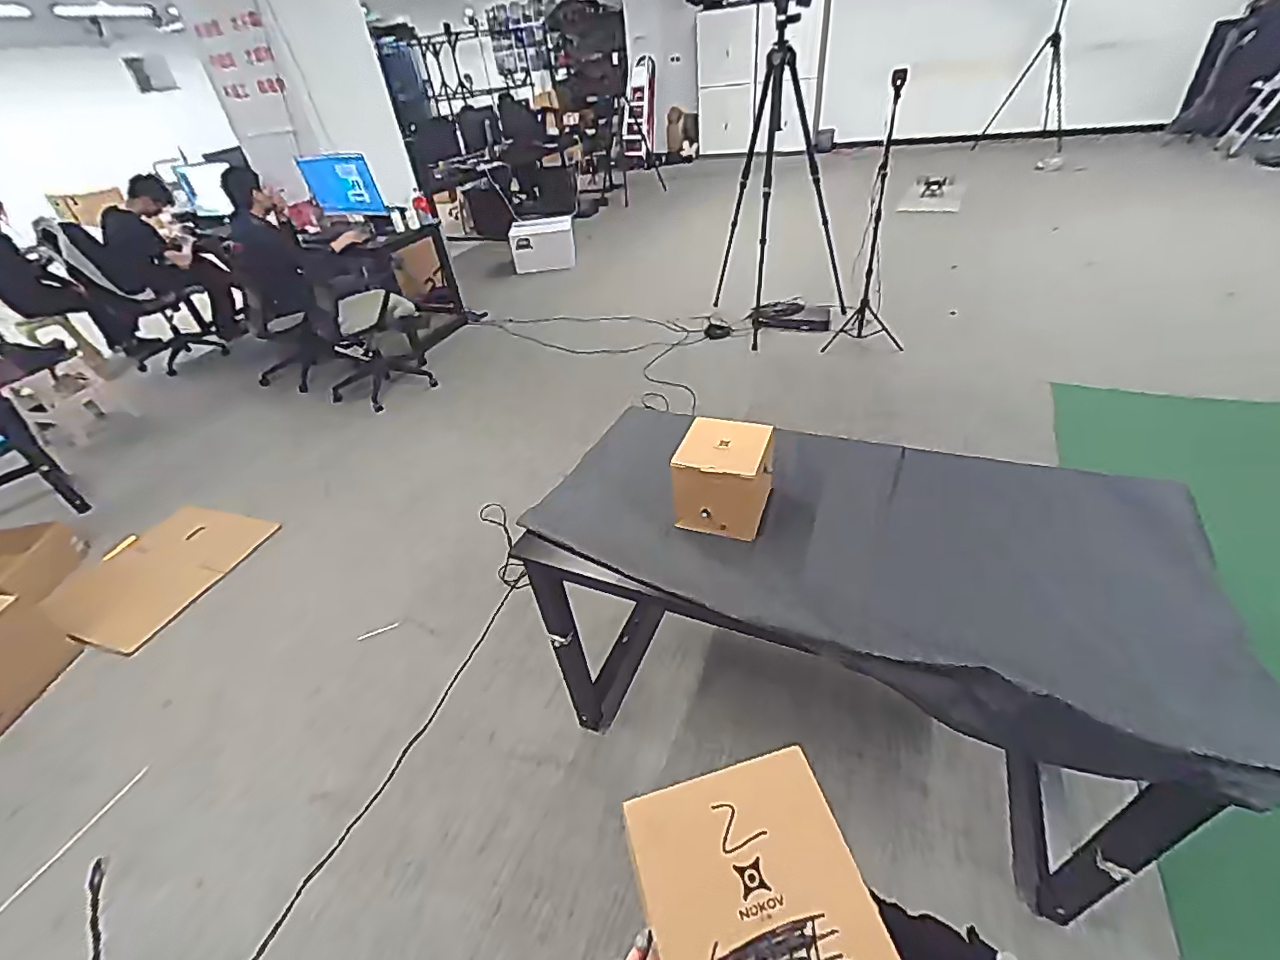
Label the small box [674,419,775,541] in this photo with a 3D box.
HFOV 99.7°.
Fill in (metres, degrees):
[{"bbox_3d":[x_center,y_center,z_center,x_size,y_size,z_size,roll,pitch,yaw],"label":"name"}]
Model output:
[{"bbox_3d":[0.176,-0.002,1.124,0.168,0.176,0.179,11,42,20],"label":"small box"}]
